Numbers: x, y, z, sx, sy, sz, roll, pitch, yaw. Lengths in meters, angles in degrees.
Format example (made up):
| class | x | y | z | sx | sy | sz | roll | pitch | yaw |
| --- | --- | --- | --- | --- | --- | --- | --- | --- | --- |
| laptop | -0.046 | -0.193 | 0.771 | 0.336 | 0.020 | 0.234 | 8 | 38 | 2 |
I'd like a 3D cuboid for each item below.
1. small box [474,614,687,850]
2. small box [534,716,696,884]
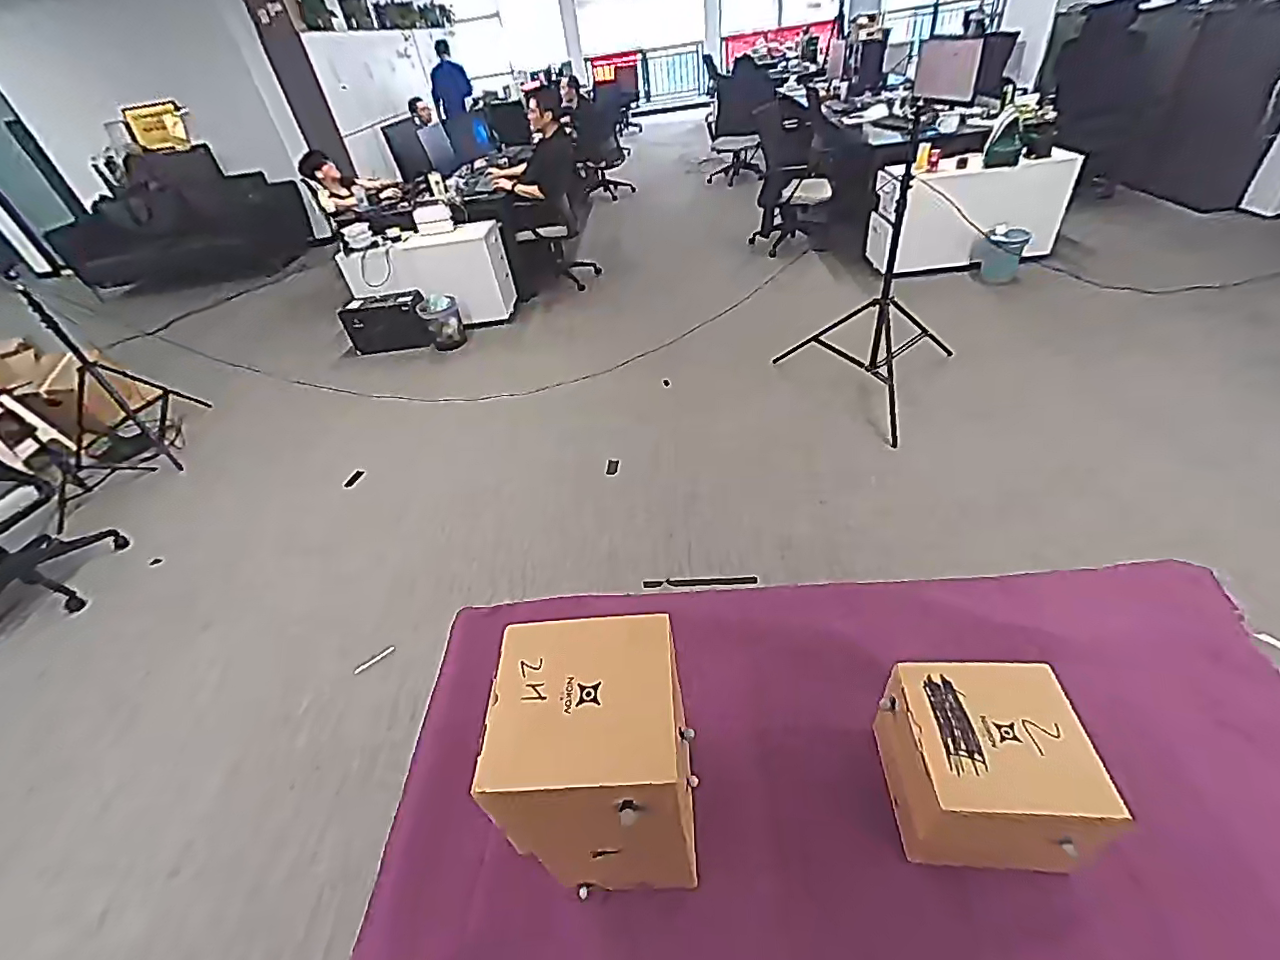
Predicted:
| class | x | y | z | sx | sy | sz | roll | pitch | yaw |
| --- | --- | --- | --- | --- | --- | --- | --- | --- | --- |
| small box | -0.044 | 0.259 | 0.555 | 0.179 | 0.176 | 0.168 | -6 | 40 | 4 |
| small box | -0.021 | 0.378 | 0.668 | 0.168 | 0.176 | 0.179 | -5 | 40 | 5 |
